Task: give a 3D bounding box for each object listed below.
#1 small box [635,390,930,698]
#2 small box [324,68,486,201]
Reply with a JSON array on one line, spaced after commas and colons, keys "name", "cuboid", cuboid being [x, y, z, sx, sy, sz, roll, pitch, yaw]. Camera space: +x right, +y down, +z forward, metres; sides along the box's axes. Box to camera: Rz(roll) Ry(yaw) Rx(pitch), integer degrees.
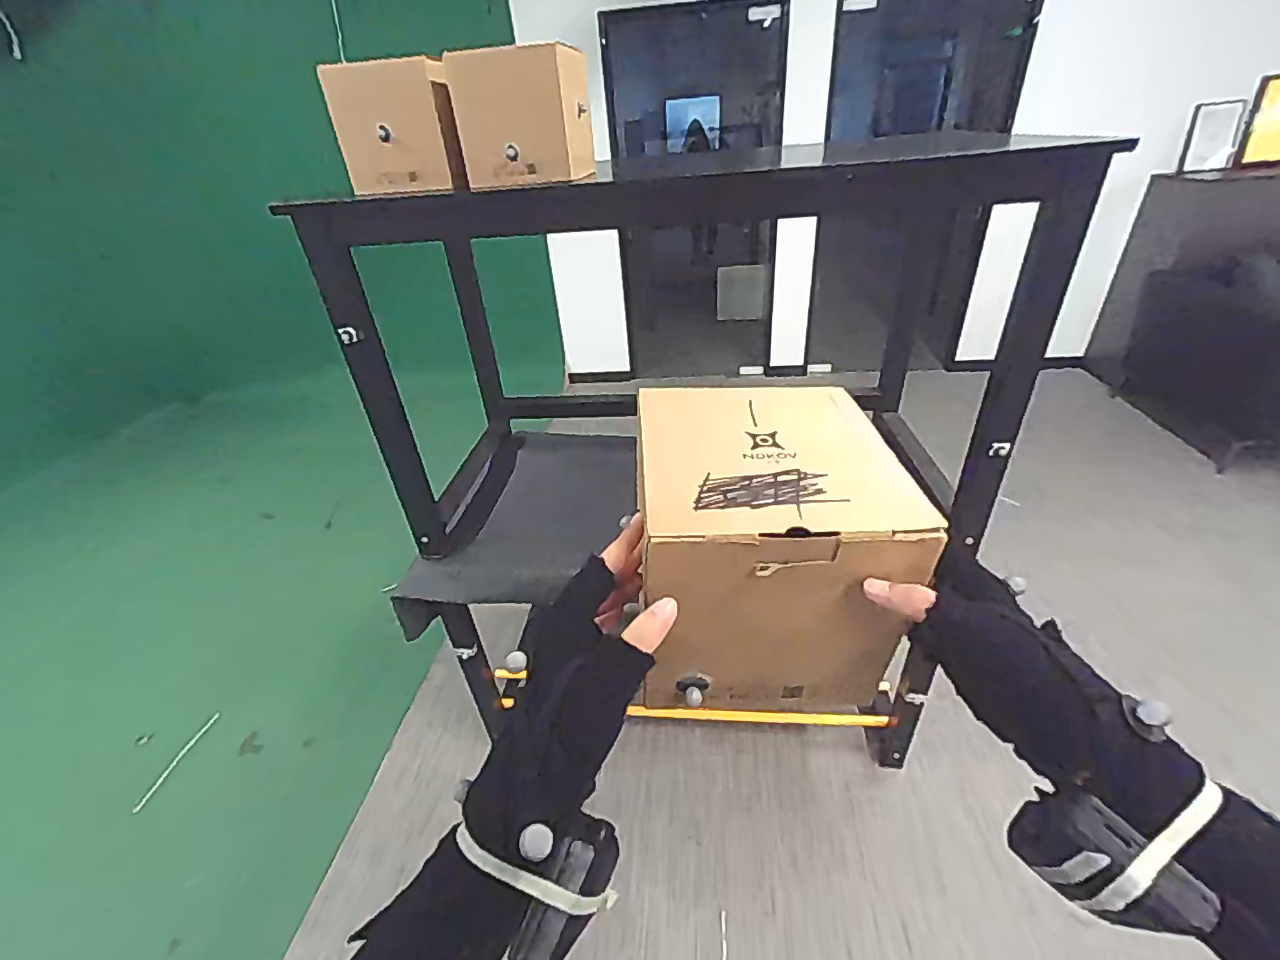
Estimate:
[{"name": "small box", "cuboid": [0.080, 0.046, 0.410, 0.168, 0.176, 0.179, 0, 36, -1]}, {"name": "small box", "cuboid": [-0.369, -0.560, 0.890, 0.168, 0.176, 0.179, 1, 33, 6]}]
